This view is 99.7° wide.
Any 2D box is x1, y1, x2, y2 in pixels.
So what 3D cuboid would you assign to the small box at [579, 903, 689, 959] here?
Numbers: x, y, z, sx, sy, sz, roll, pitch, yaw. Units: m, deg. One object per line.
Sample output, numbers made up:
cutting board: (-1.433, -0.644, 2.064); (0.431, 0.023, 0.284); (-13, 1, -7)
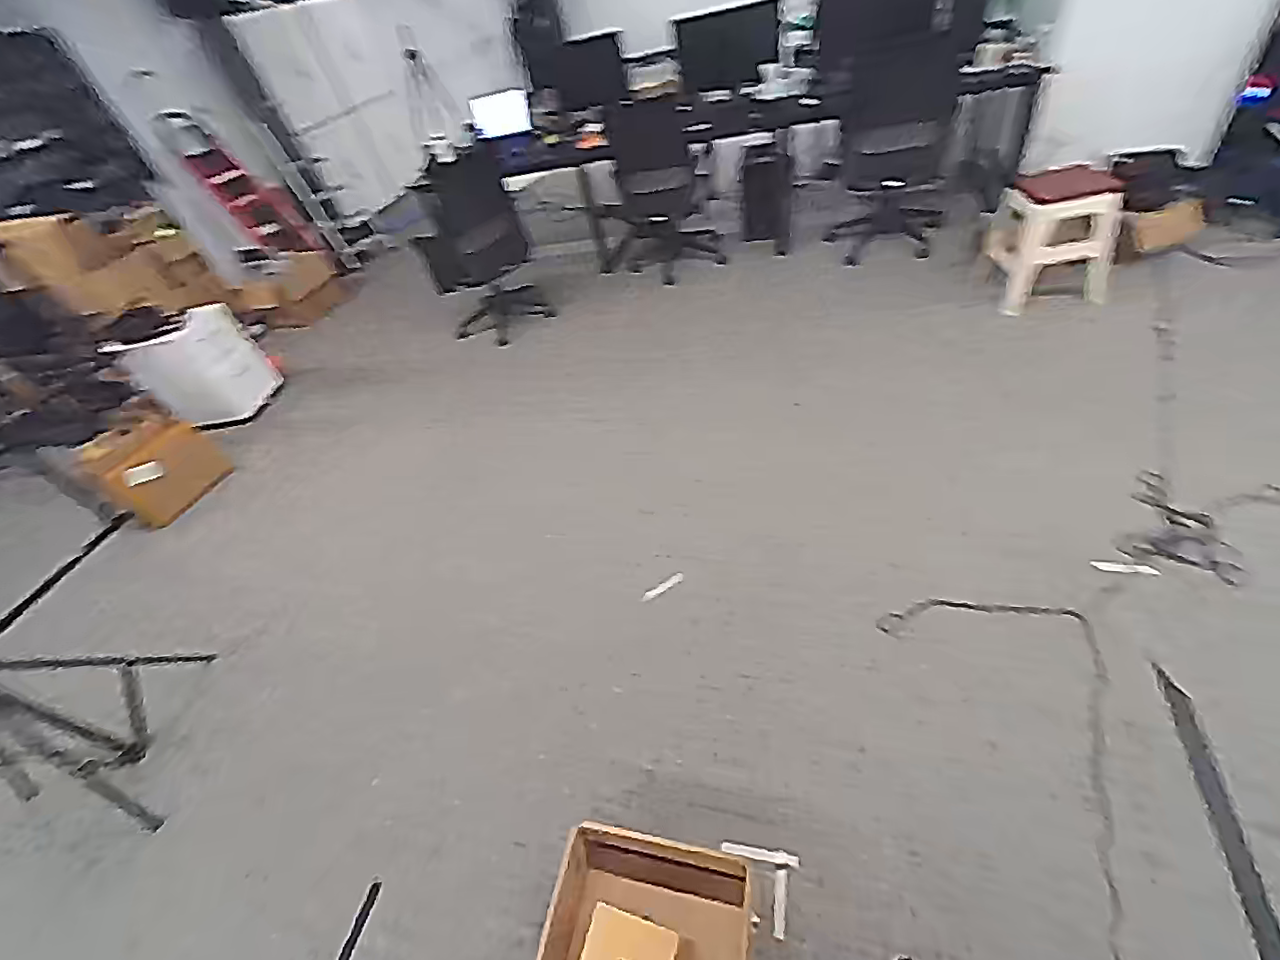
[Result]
small box: (-0.016, 0.964, 1.052); (0.179, 0.176, 0.168); (5, 48, 21)
